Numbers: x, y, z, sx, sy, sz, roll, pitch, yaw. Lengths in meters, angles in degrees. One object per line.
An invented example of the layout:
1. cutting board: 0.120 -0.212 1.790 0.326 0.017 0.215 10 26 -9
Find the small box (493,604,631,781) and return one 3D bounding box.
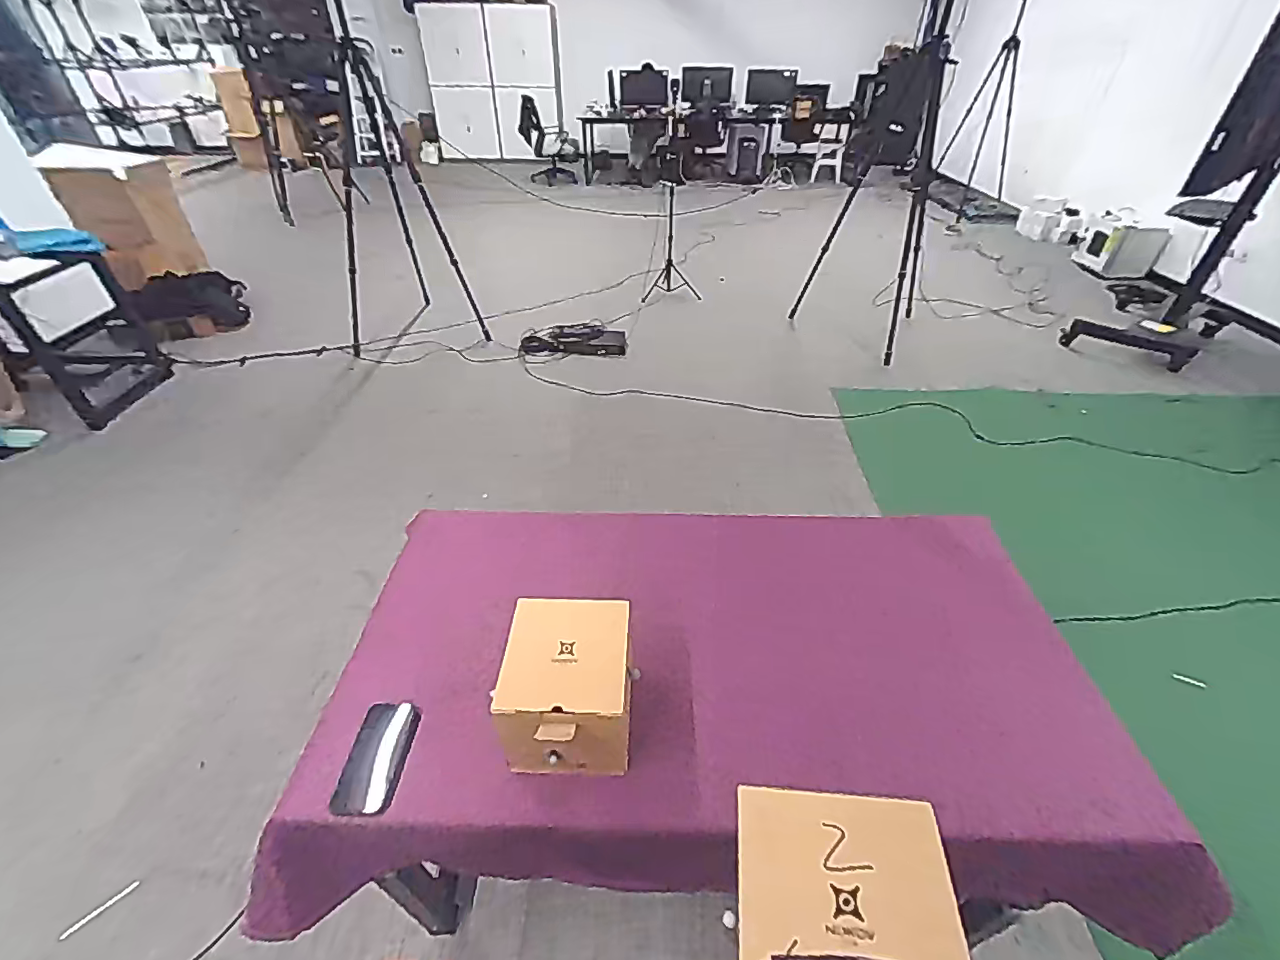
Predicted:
1. small box: -0.100 0.304 0.780 0.168 0.176 0.179 2 40 1
